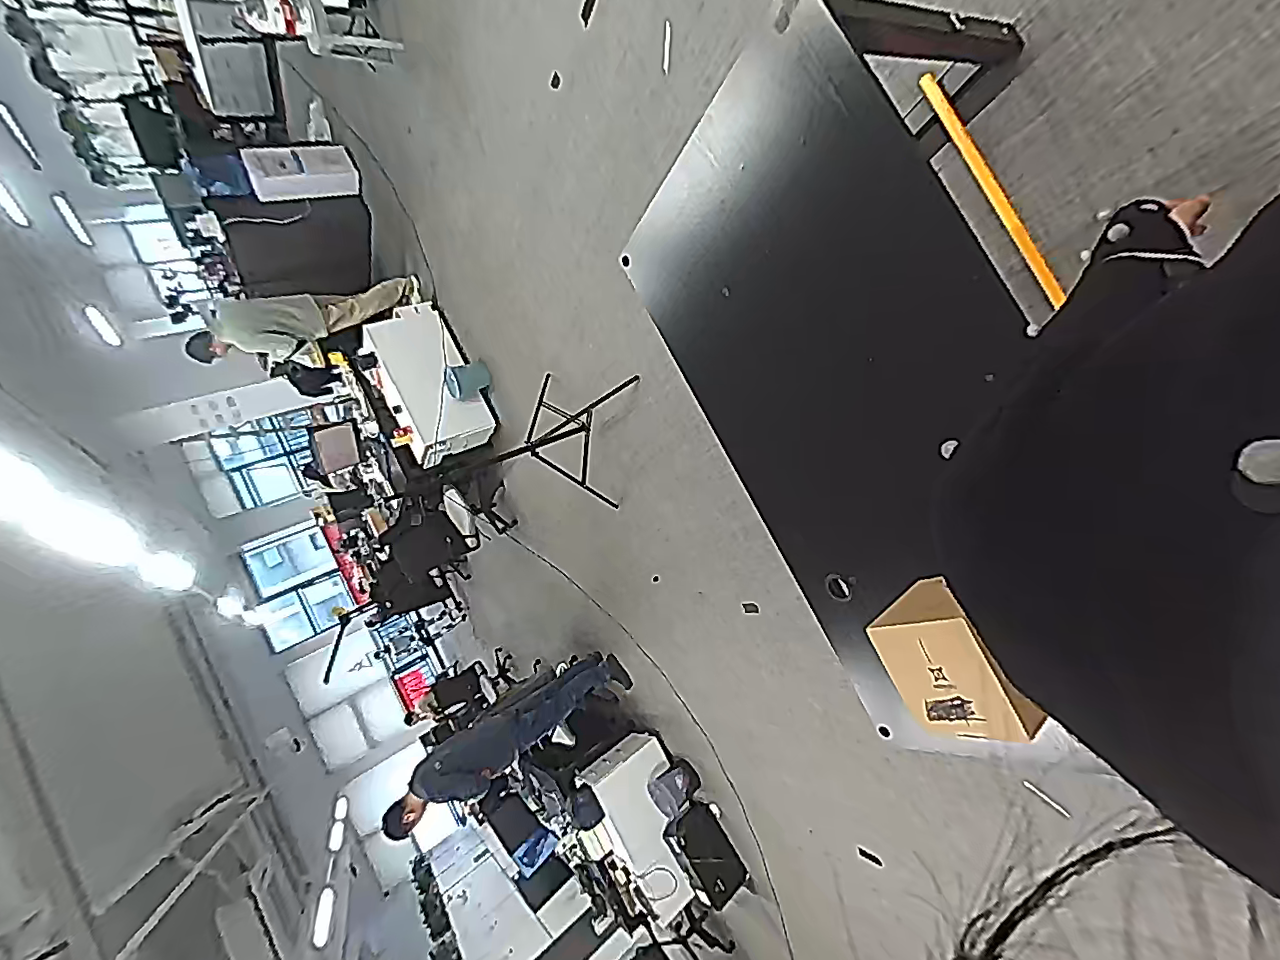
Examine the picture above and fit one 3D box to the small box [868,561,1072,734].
[{"bbox_3d":[0.490,0.243,0.805,0.179,0.176,0.168,63,148,6],"label":"small box"}]
